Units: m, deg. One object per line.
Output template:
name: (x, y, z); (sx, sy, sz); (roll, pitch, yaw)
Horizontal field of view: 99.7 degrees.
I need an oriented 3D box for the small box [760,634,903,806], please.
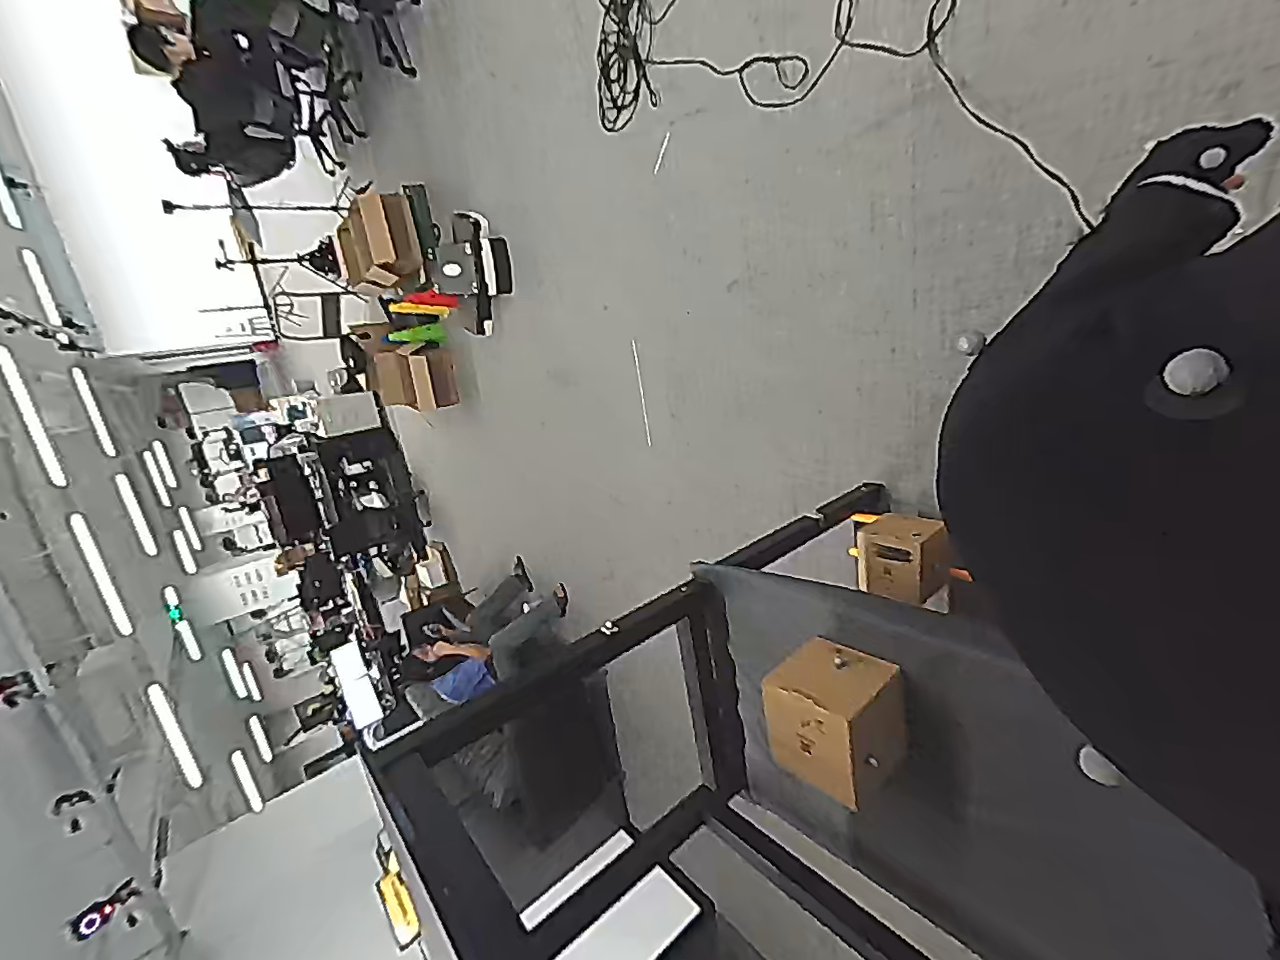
small box: (0.332, 0.397, 0.926); (0.168, 0.176, 0.179); (8, 113, 50)
